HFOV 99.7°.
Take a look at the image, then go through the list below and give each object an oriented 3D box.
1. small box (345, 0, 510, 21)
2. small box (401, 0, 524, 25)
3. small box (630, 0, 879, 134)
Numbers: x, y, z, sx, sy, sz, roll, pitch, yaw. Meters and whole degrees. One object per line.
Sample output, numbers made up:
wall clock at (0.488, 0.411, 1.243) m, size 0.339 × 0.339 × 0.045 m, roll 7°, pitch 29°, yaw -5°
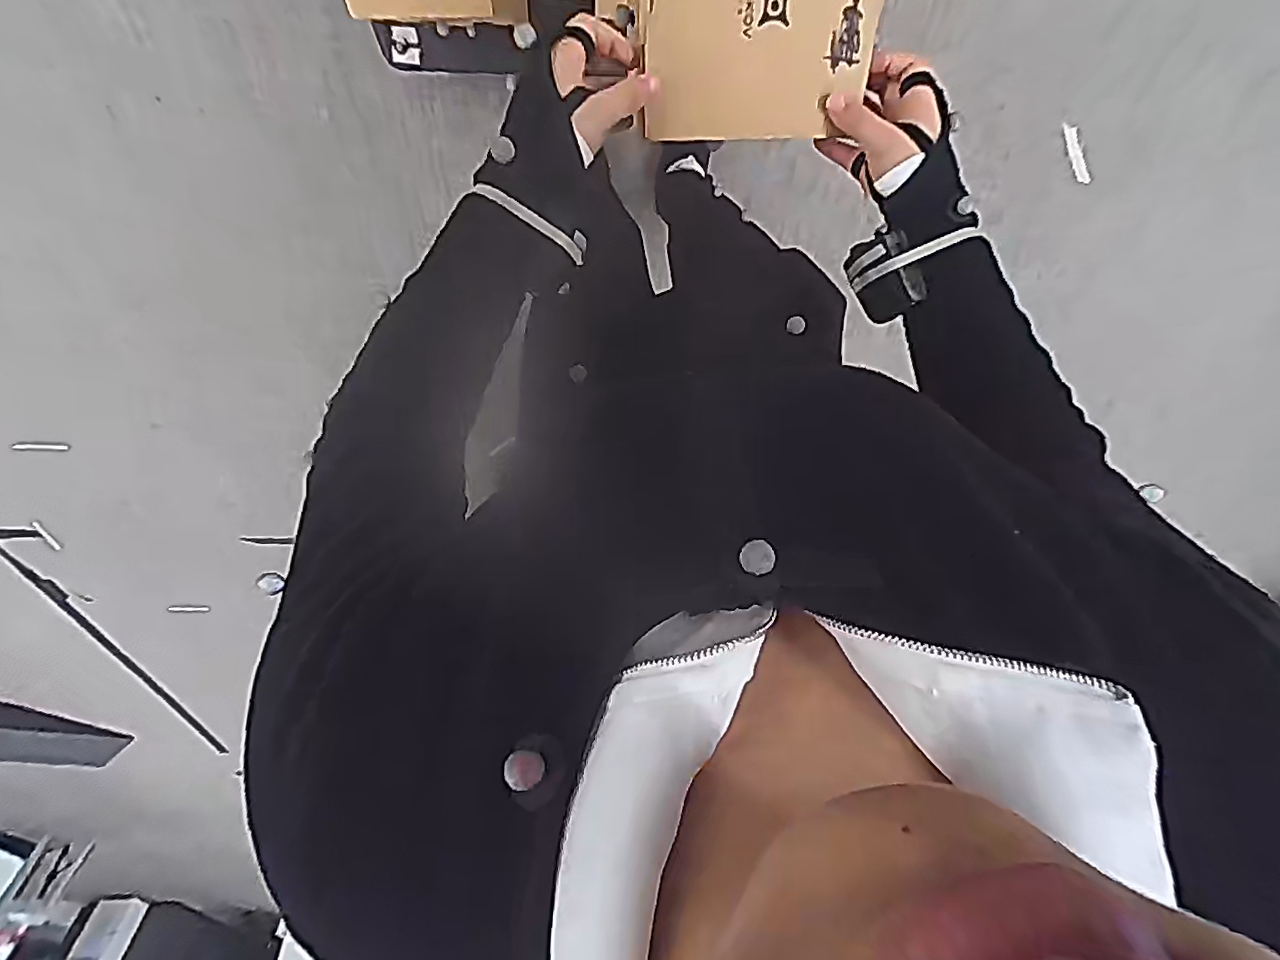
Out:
small box at (-0.251, -0.644, 0.621) m, size 0.168 × 0.176 × 0.179 m, roll -2°, pitch 131°, yaw -2°
small box at (-0.256, -0.748, 0.748) m, size 0.168 × 0.176 × 0.179 m, roll 0°, pitch 131°, yaw -2°
small box at (0.080, -0.387, 0.447) m, size 0.179 × 0.176 × 0.168 m, roll -3°, pitch 126°, yaw -2°
